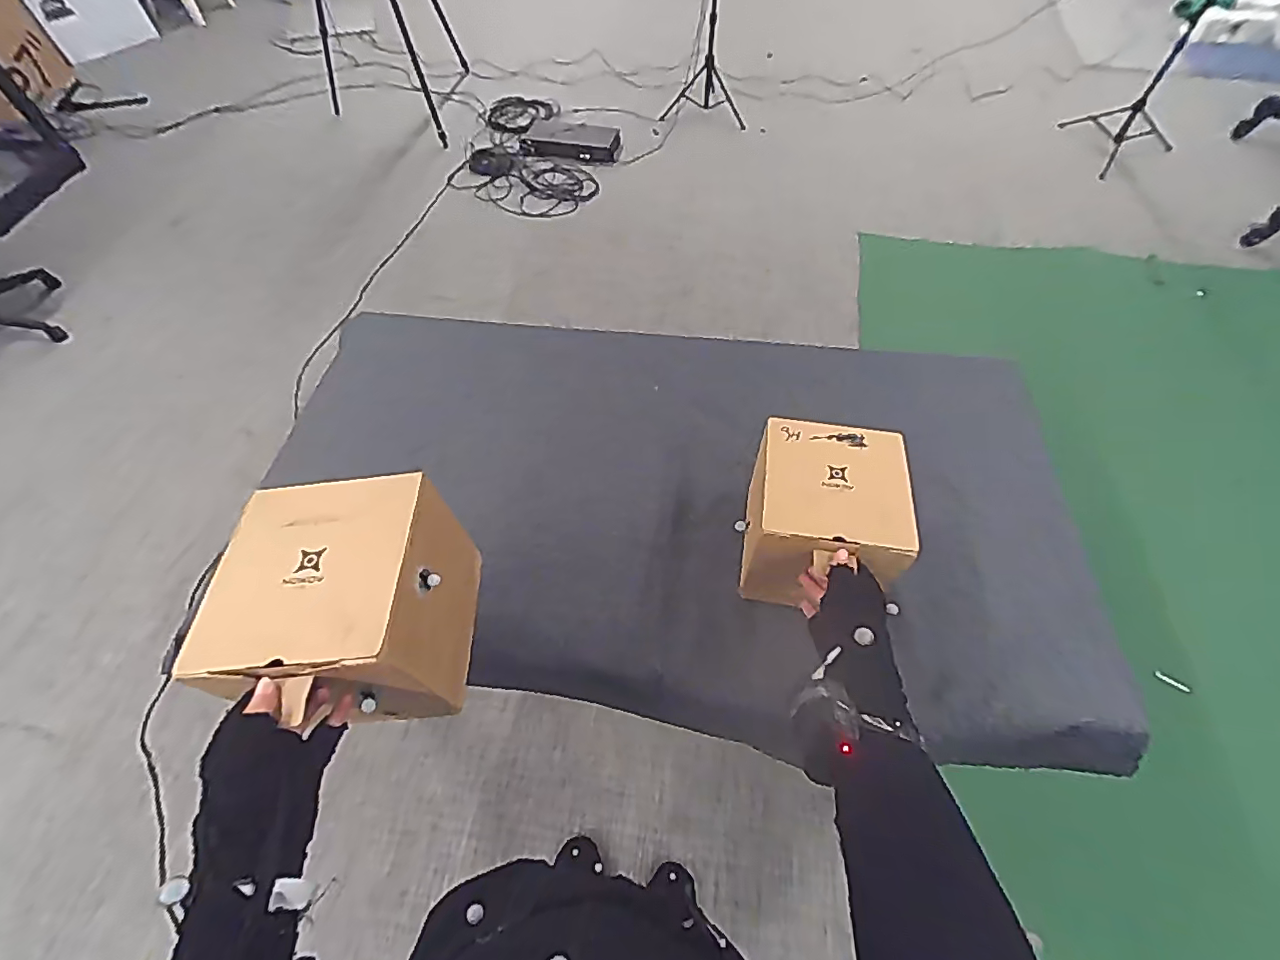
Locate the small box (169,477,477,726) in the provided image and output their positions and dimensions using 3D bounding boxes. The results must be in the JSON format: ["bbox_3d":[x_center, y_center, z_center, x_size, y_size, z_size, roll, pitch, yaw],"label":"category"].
[{"bbox_3d":[-0.266,0.122,0.510,0.168,0.176,0.179,-6,52,2],"label":"small box"}]
